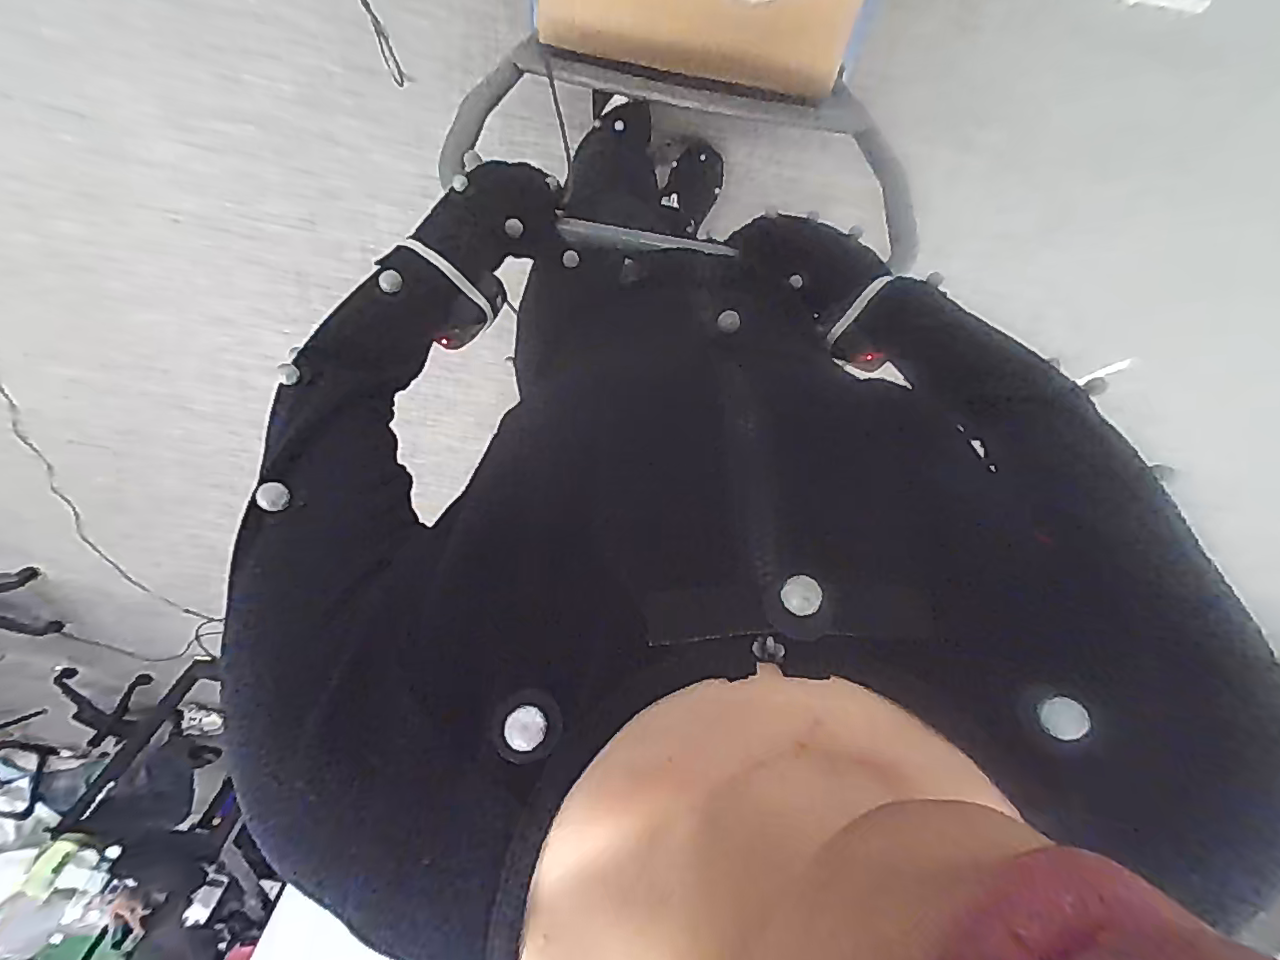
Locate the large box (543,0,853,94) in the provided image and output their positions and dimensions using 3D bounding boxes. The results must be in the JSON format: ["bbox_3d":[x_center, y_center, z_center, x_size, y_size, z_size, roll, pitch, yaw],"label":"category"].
[{"bbox_3d":[0.089,-0.779,0.740,0.408,0.320,0.320,8,139,-4],"label":"large box"}]
